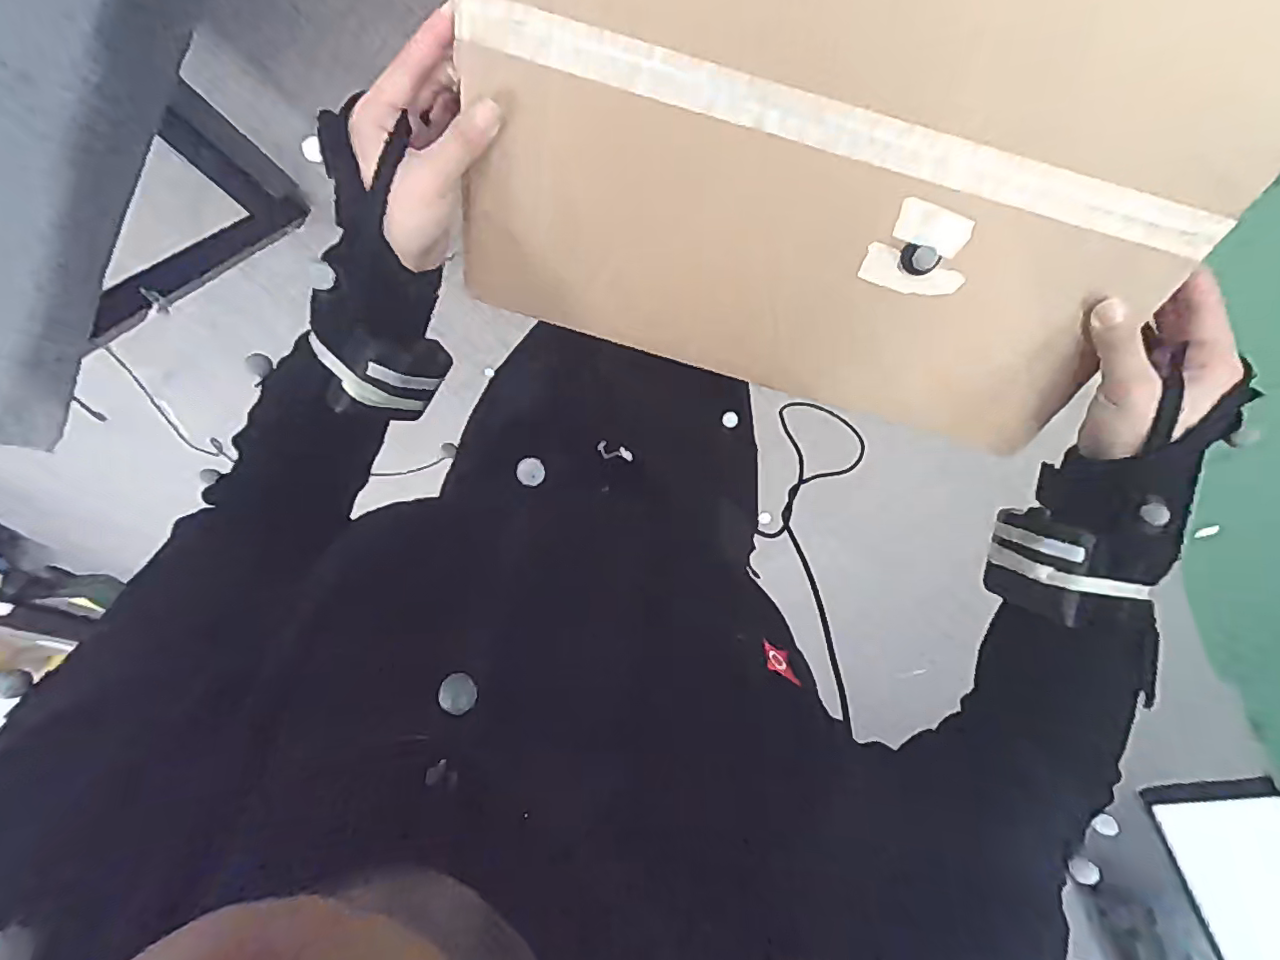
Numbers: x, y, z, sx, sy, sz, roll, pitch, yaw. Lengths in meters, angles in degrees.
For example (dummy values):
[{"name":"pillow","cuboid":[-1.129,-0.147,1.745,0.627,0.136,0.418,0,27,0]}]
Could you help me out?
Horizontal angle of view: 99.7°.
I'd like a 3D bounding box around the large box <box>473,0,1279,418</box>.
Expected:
[{"name":"large box","cuboid":[0.131,-0.294,0.380,0.408,0.320,0.320,15,134,-1]}]
